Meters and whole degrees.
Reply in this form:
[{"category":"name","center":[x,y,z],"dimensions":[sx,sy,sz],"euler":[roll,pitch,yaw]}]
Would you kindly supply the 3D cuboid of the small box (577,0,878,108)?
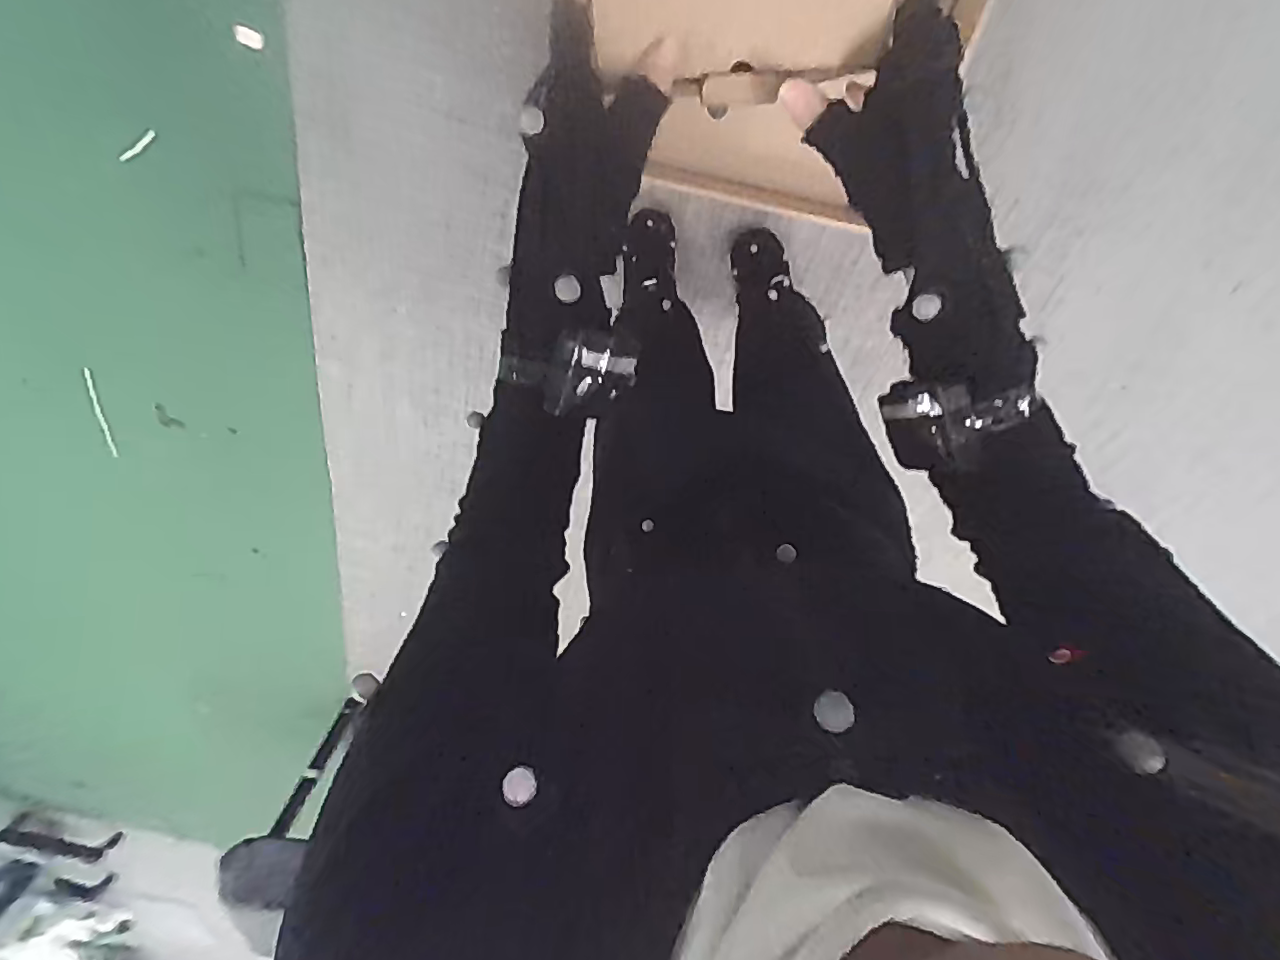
[{"category":"small box","center":[0.045,-0.342,0.331],"dimensions":[0.168,0.176,0.179],"euler":[-4,125,2]}]
